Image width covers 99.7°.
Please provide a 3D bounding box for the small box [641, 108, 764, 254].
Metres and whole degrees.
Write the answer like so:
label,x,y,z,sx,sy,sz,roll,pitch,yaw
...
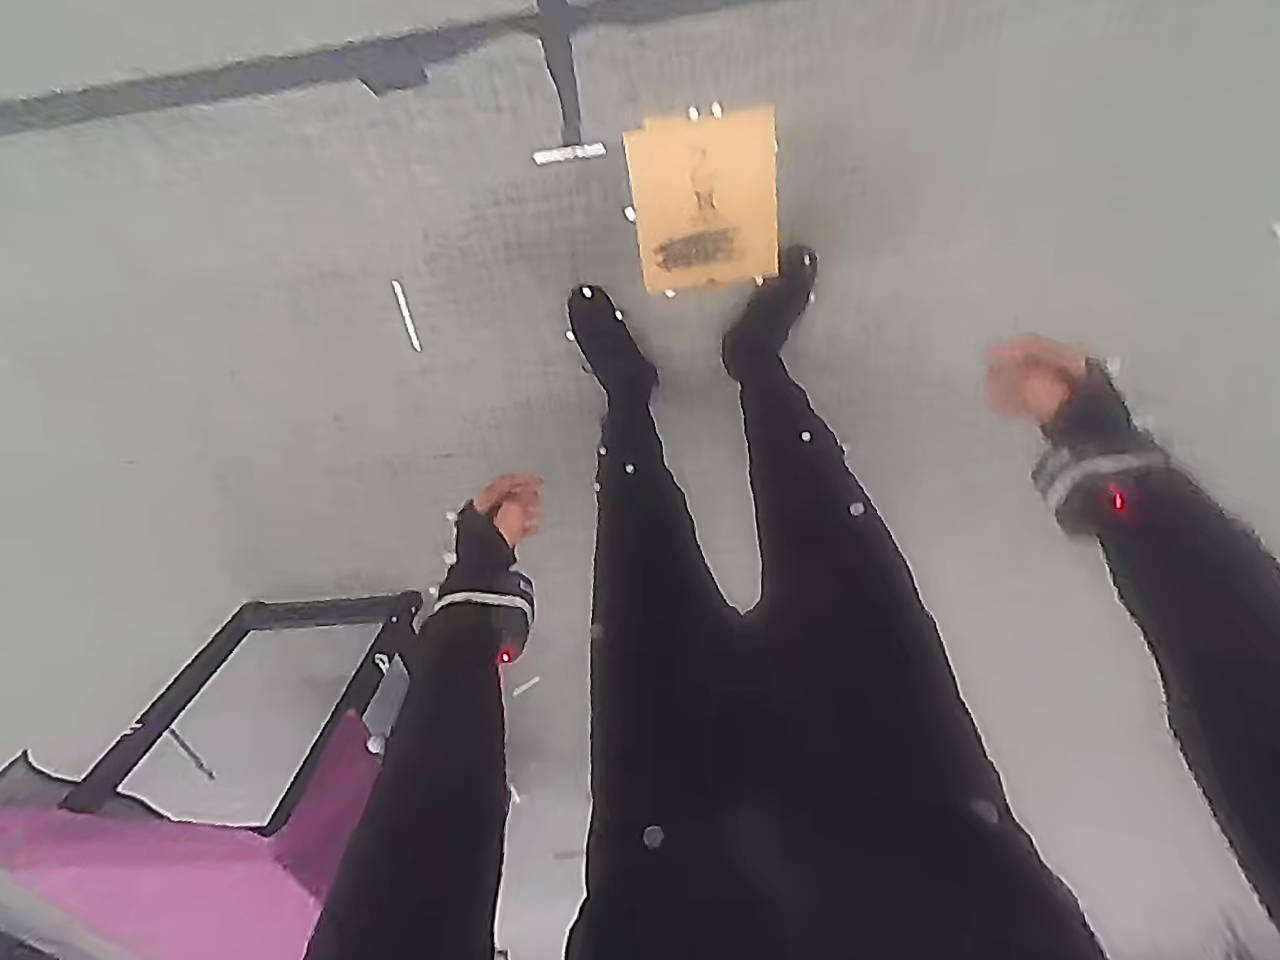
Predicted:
label,x,y,z,sx,sy,sz,roll,pitch,yaw
small box,0.085,-0.454,0.823,0.168,0.176,0.179,-2,123,2
